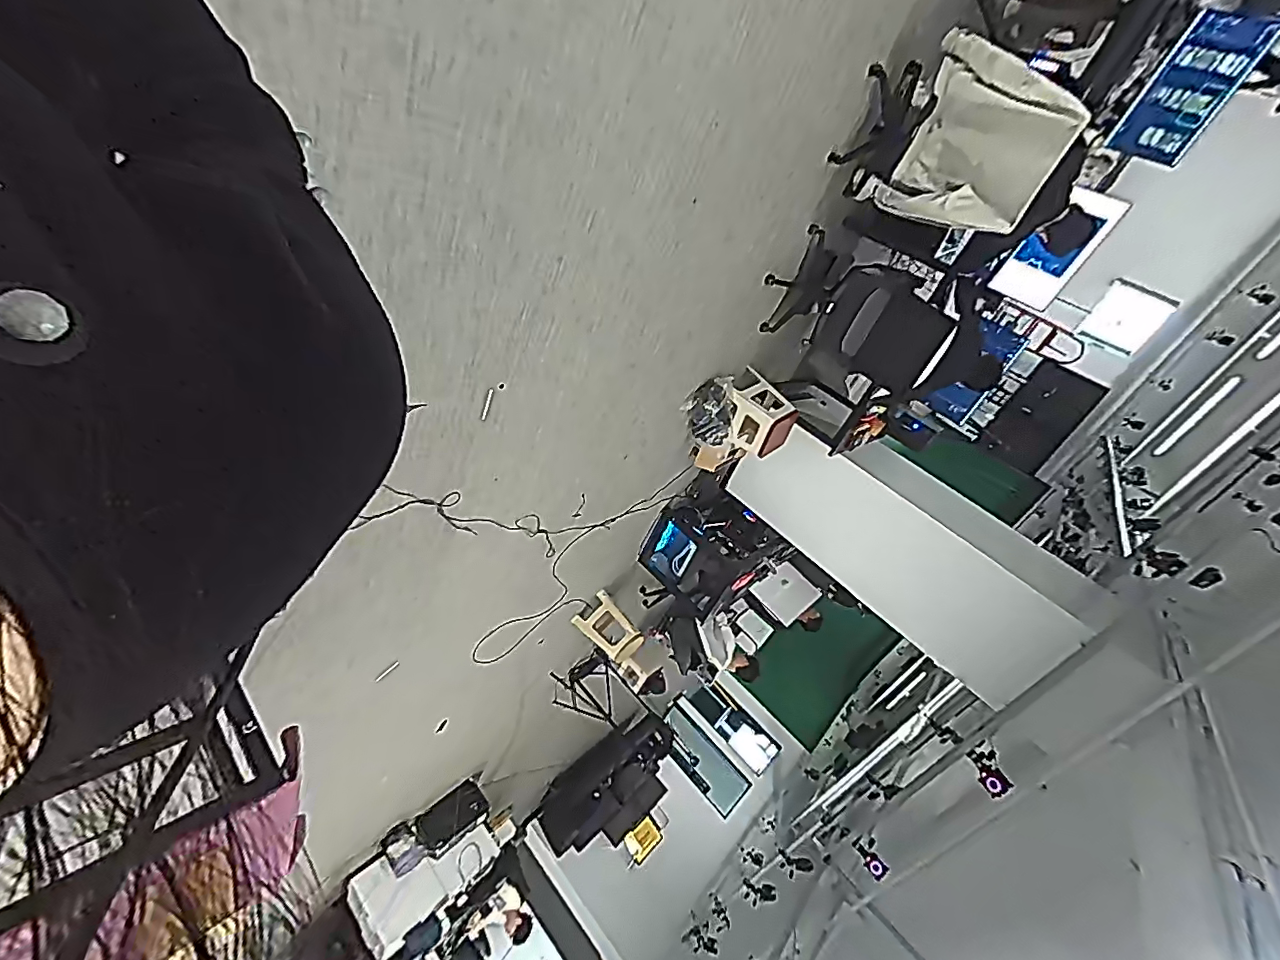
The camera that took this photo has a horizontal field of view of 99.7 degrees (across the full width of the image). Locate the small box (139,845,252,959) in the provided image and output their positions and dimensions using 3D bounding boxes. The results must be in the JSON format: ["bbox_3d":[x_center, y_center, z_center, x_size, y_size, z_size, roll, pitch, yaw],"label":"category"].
[{"bbox_3d":[-1.067,1.036,1.300,0.179,0.176,0.168,-19,144,-47],"label":"small box"}]
